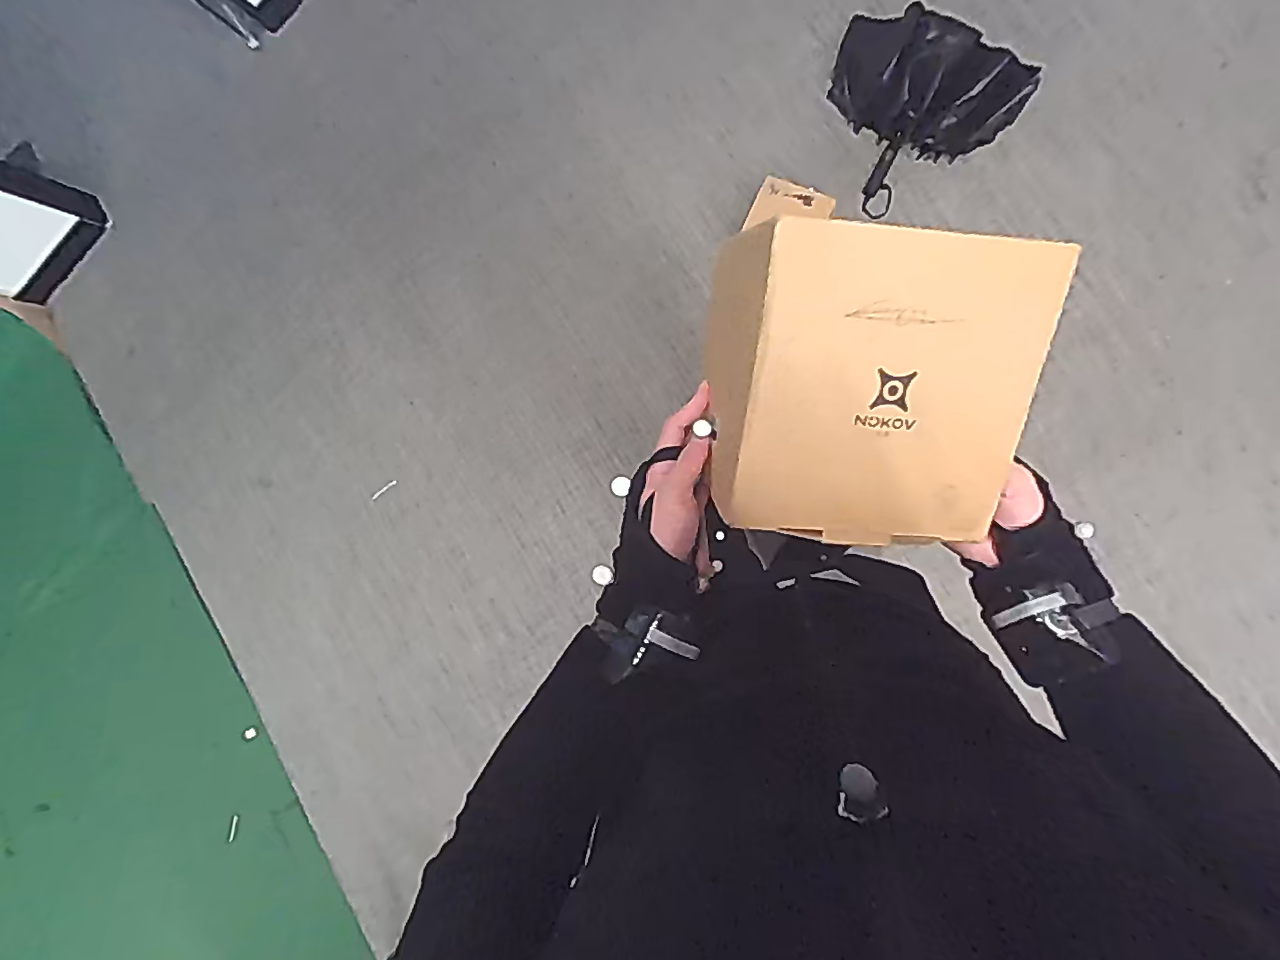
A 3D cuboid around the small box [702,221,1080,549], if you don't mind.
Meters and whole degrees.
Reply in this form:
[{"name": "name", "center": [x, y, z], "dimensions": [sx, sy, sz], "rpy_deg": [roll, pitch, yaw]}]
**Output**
[{"name": "small box", "center": [0.143, -0.068, 0.382], "dimensions": [0.168, 0.176, 0.179], "rpy_deg": [3, 107, -5]}]
